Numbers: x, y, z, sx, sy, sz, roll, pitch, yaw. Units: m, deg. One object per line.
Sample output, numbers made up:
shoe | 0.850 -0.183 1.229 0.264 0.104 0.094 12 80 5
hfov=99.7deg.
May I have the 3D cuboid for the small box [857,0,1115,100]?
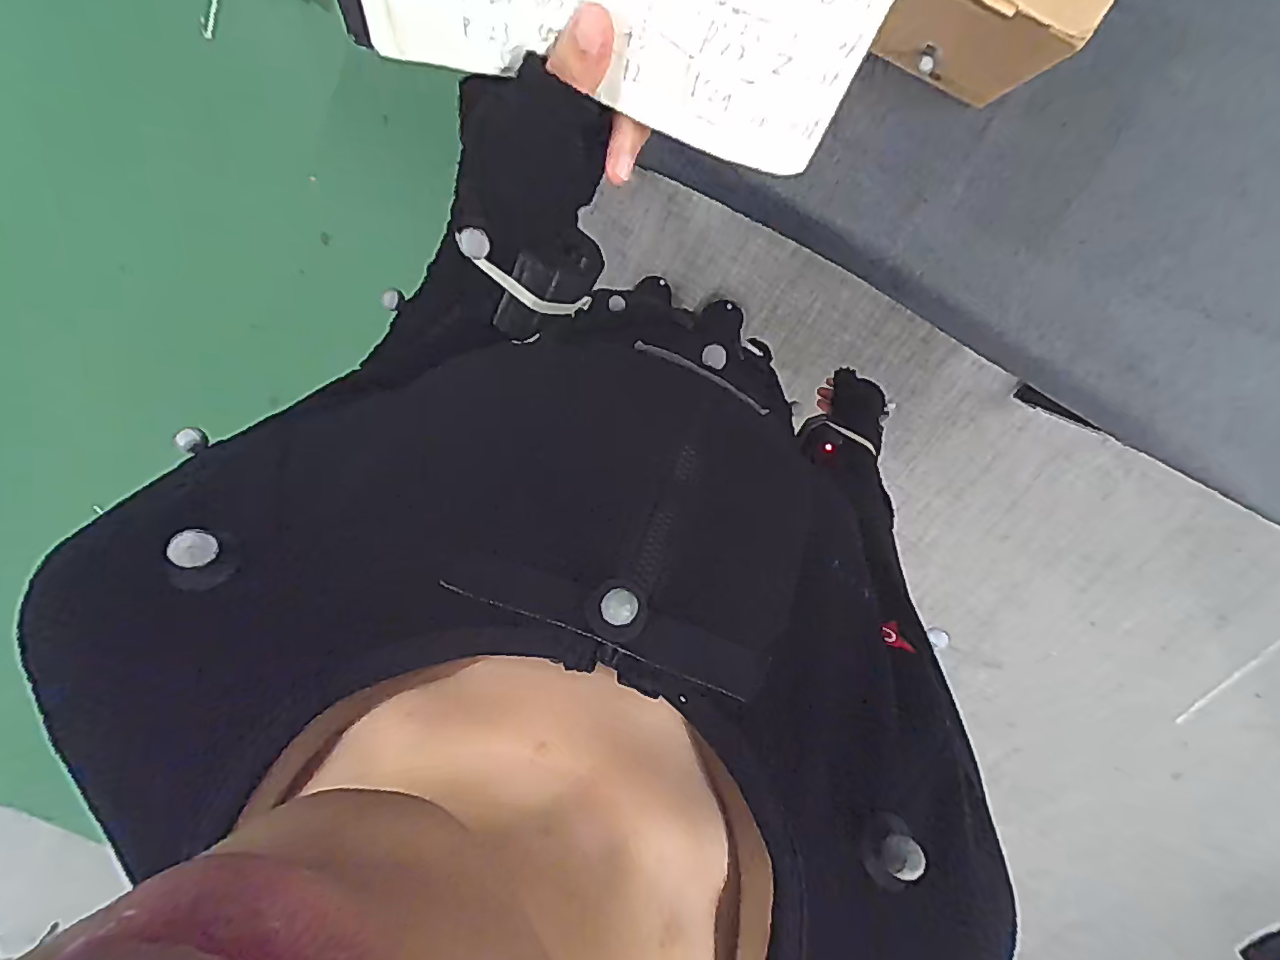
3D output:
small box | 0.311 -0.467 0.451 0.168 0.176 0.179 25 111 -4
